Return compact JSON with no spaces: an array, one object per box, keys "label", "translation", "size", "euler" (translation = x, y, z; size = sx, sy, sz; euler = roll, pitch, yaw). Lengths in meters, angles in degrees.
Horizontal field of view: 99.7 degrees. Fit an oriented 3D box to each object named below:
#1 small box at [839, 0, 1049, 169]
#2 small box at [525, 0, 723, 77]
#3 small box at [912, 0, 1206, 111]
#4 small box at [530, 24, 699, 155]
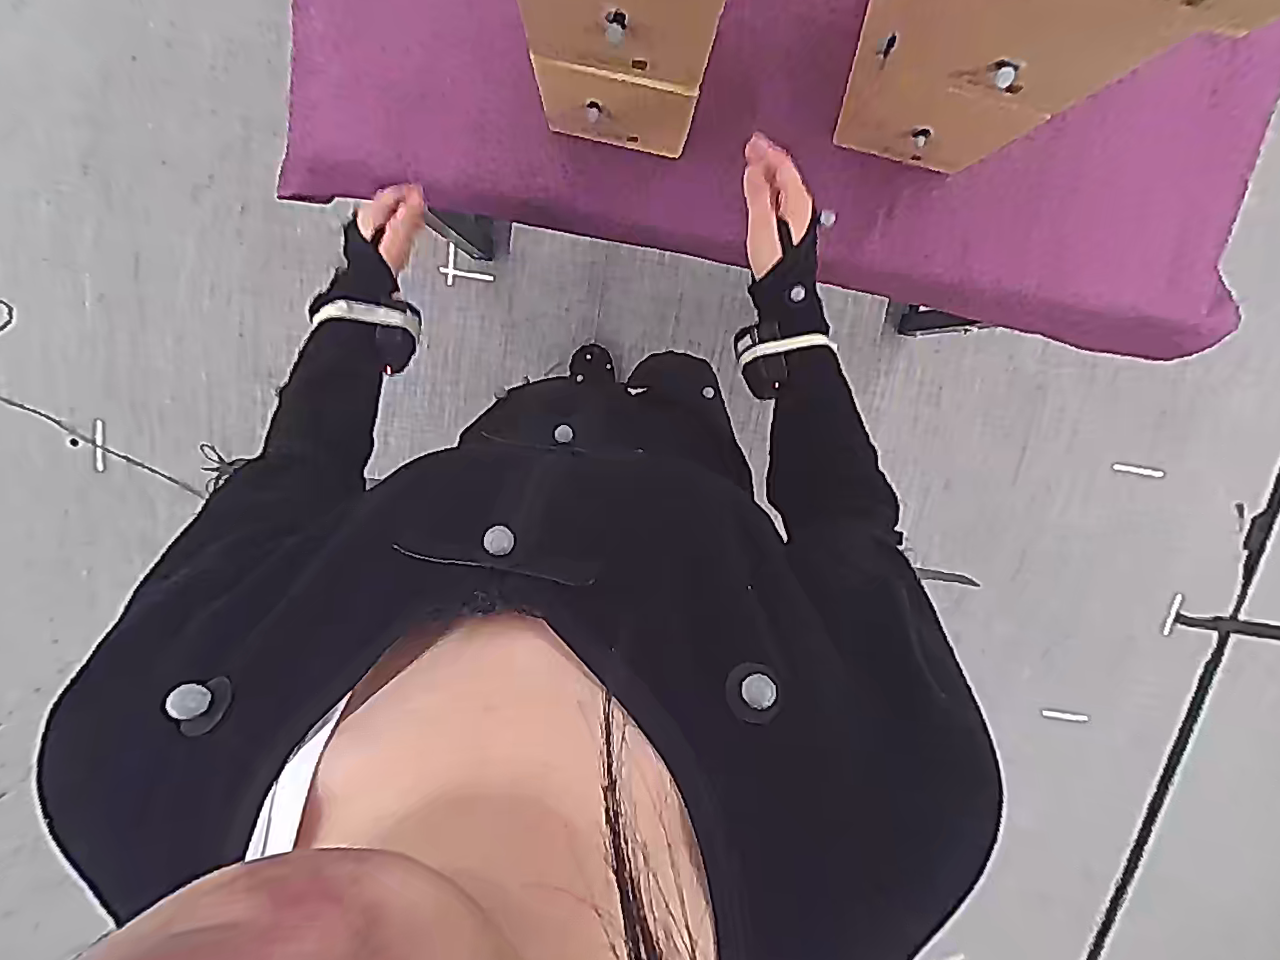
[{"label":"small box","translation":[0.343,-0.476,0.597],"size":[0.168,0.176,0.179],"euler":[12,101,-5]},{"label":"small box","translation":[-0.005,-0.458,0.419],"size":[0.168,0.176,0.179],"euler":[8,101,-4]},{"label":"small box","translation":[0.354,-0.445,0.436],"size":[0.168,0.176,0.179],"euler":[12,102,-5]},{"label":"small box","translation":[-0.012,-0.484,0.580],"size":[0.168,0.176,0.179],"euler":[10,100,-5]}]
